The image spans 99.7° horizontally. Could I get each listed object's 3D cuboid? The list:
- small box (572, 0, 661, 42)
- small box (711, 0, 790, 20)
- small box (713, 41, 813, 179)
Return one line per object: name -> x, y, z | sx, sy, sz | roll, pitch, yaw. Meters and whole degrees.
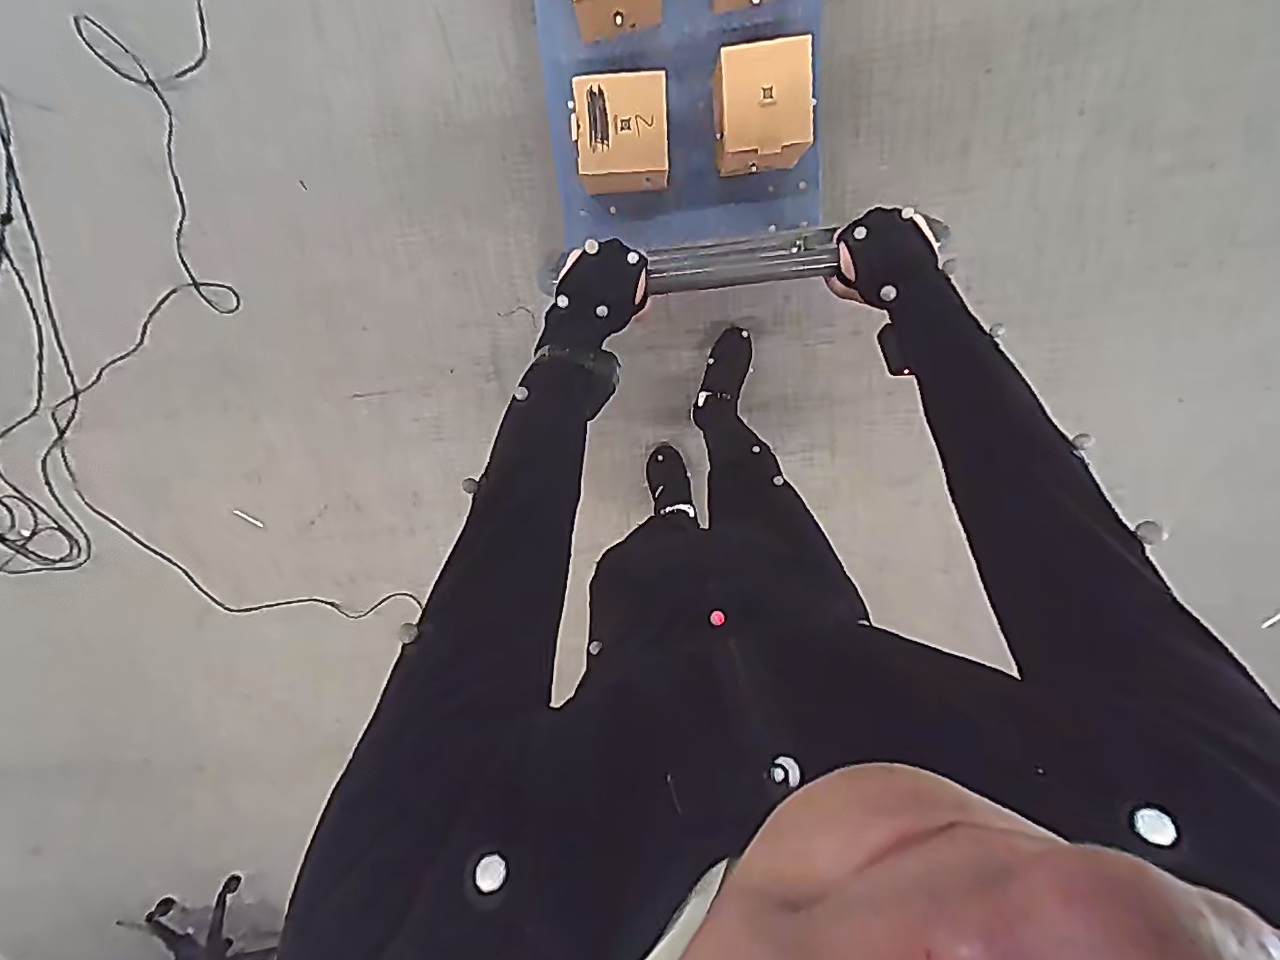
small box -> -0.054, -0.972, 1.021 | 0.168, 0.176, 0.179 | -11, 106, 4
small box -> 0.211, -1.012, 0.999 | 0.168, 0.176, 0.179 | -10, 107, 6
small box -> 0.240, -0.729, 1.084 | 0.168, 0.176, 0.179 | -6, 106, 4
